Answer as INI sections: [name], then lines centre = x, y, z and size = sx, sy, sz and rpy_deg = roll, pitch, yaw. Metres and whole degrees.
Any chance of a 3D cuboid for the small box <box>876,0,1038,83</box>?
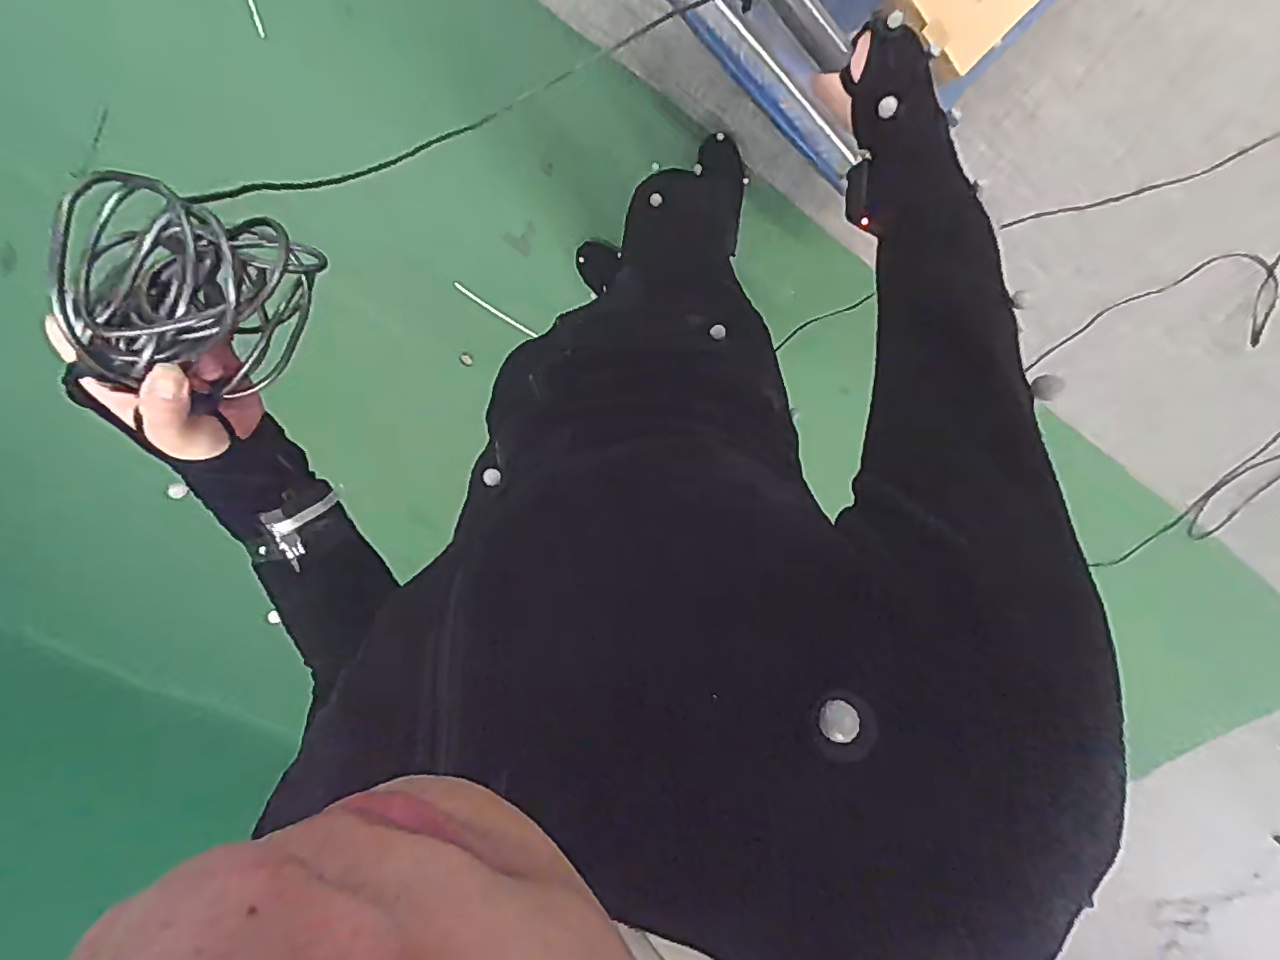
[small box]
centre = 0.539, -0.820, 0.916
size = 0.168, 0.176, 0.179
rpy_deg = 38, 117, -19
